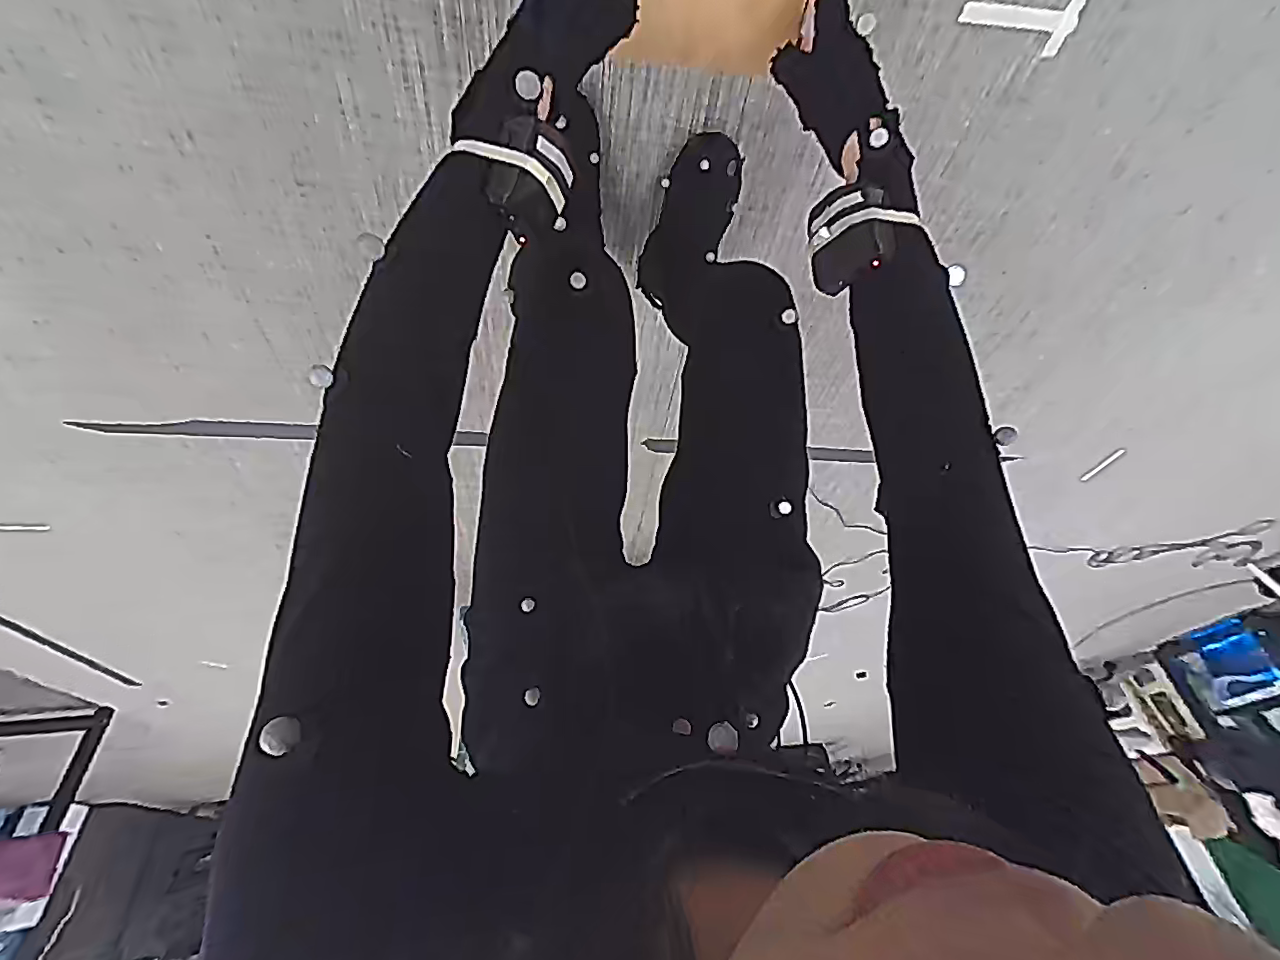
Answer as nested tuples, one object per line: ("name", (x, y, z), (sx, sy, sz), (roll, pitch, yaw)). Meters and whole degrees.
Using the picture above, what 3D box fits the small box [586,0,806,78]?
("small box", (0.048, -0.485, 0.473), (0.179, 0.176, 0.168), (-1, 141, -10))
